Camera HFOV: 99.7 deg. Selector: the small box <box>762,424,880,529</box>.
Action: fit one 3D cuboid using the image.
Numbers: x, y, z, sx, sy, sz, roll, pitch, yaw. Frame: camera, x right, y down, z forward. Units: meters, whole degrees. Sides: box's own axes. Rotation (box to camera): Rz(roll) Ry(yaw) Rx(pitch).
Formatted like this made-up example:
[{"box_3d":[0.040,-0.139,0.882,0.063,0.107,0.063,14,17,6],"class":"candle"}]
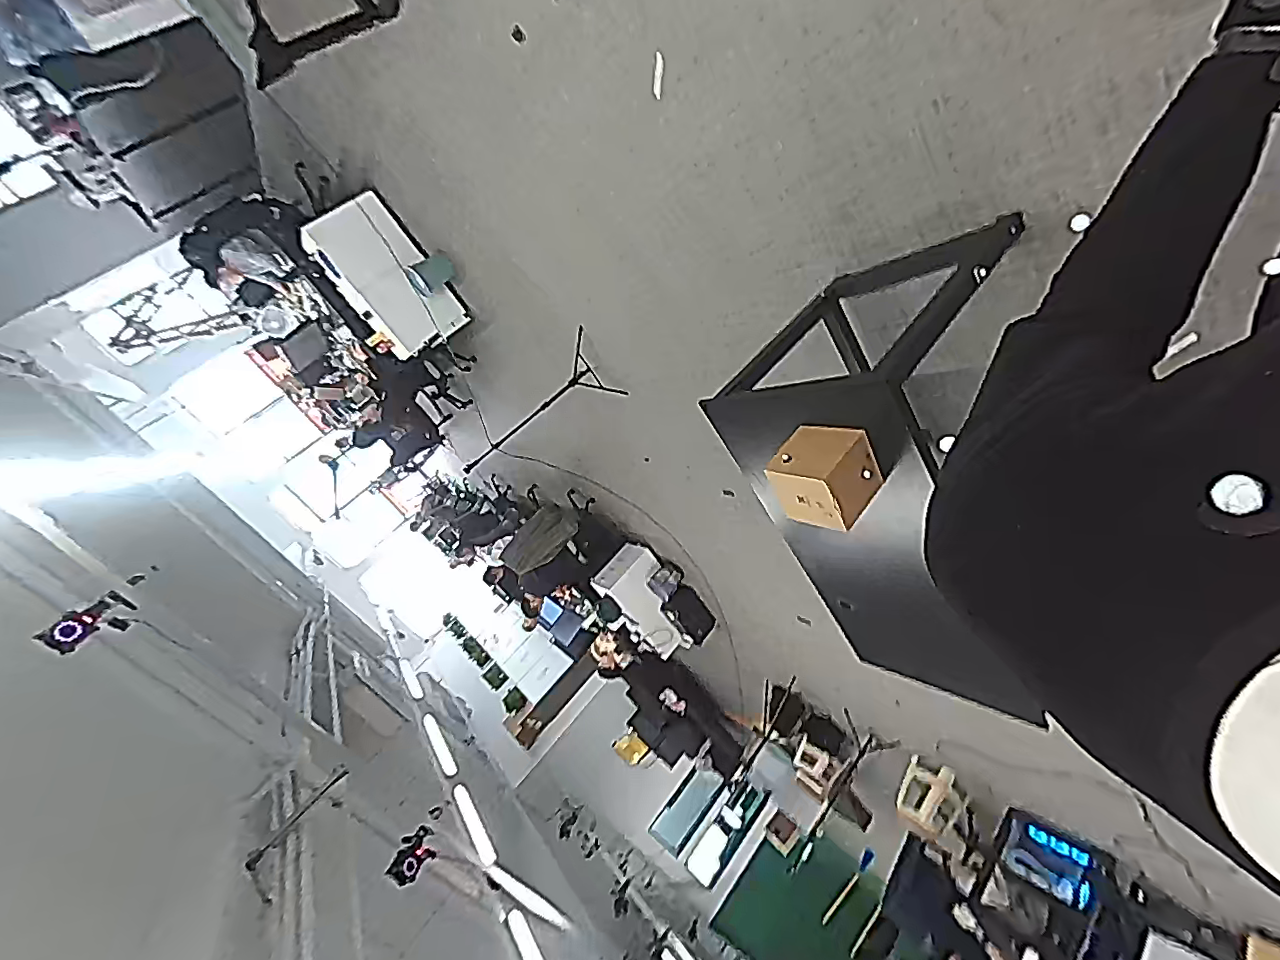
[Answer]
[{"box_3d":[0.424,-0.016,1.265,0.179,0.176,0.168,14,145,53],"class":"small box"}]
